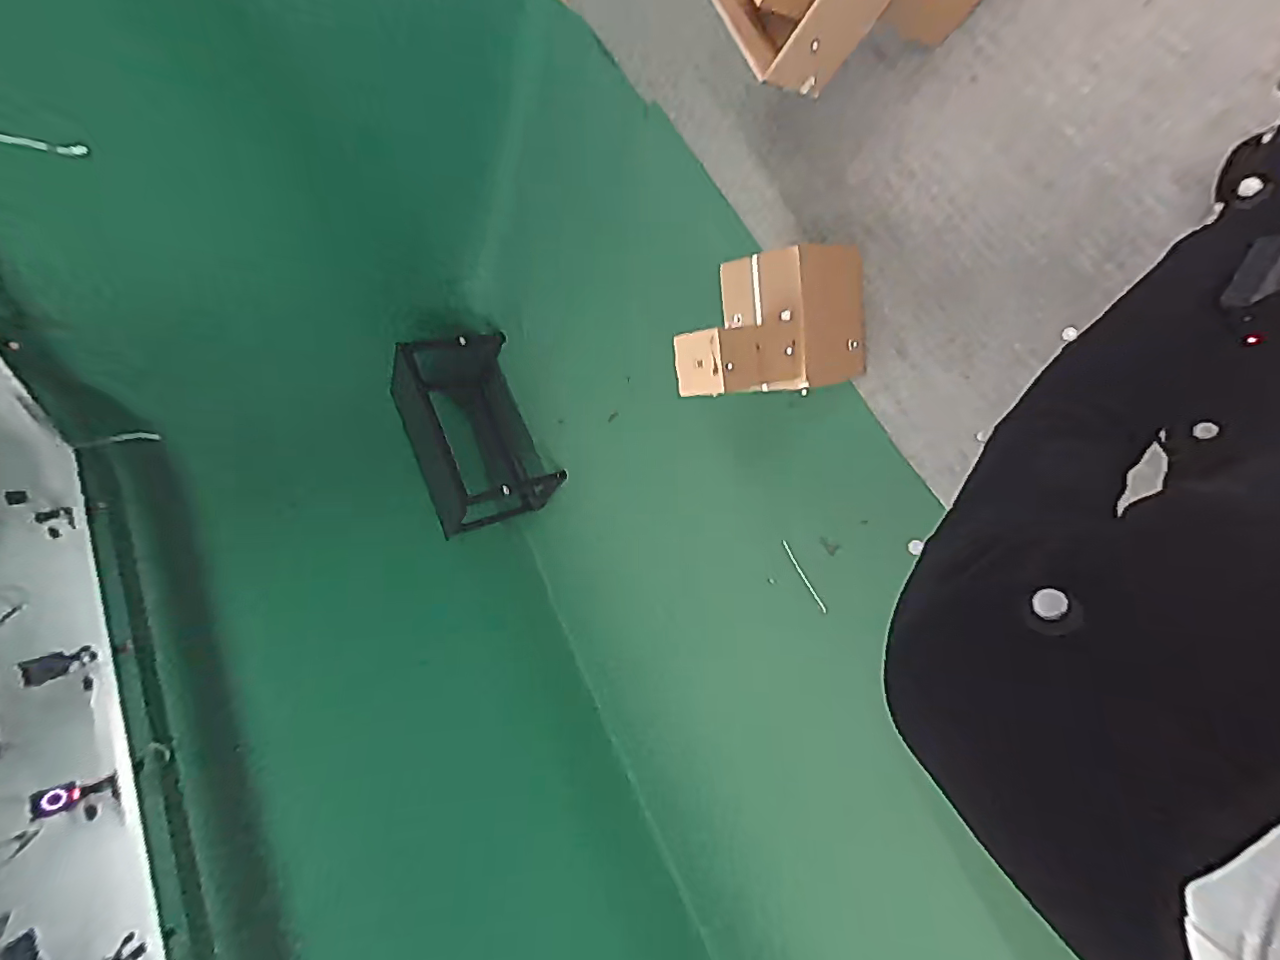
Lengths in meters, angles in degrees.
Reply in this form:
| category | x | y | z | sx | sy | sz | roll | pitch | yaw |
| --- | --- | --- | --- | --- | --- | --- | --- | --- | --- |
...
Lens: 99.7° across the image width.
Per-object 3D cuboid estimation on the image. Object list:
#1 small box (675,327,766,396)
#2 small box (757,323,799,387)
| category | x | y | z | sx | sy | sz | roll | pitch | yaw |
| --- | --- | --- | --- | --- | --- | --- | --- | --- | --- |
| small box | 0.222 | -0.324 | 1.489 | 0.179 | 0.176 | 0.168 | 7 | 109 | 53 |
| small box | 0.344 | -0.364 | 1.591 | 0.179 | 0.176 | 0.168 | 7 | 110 | 52 |
